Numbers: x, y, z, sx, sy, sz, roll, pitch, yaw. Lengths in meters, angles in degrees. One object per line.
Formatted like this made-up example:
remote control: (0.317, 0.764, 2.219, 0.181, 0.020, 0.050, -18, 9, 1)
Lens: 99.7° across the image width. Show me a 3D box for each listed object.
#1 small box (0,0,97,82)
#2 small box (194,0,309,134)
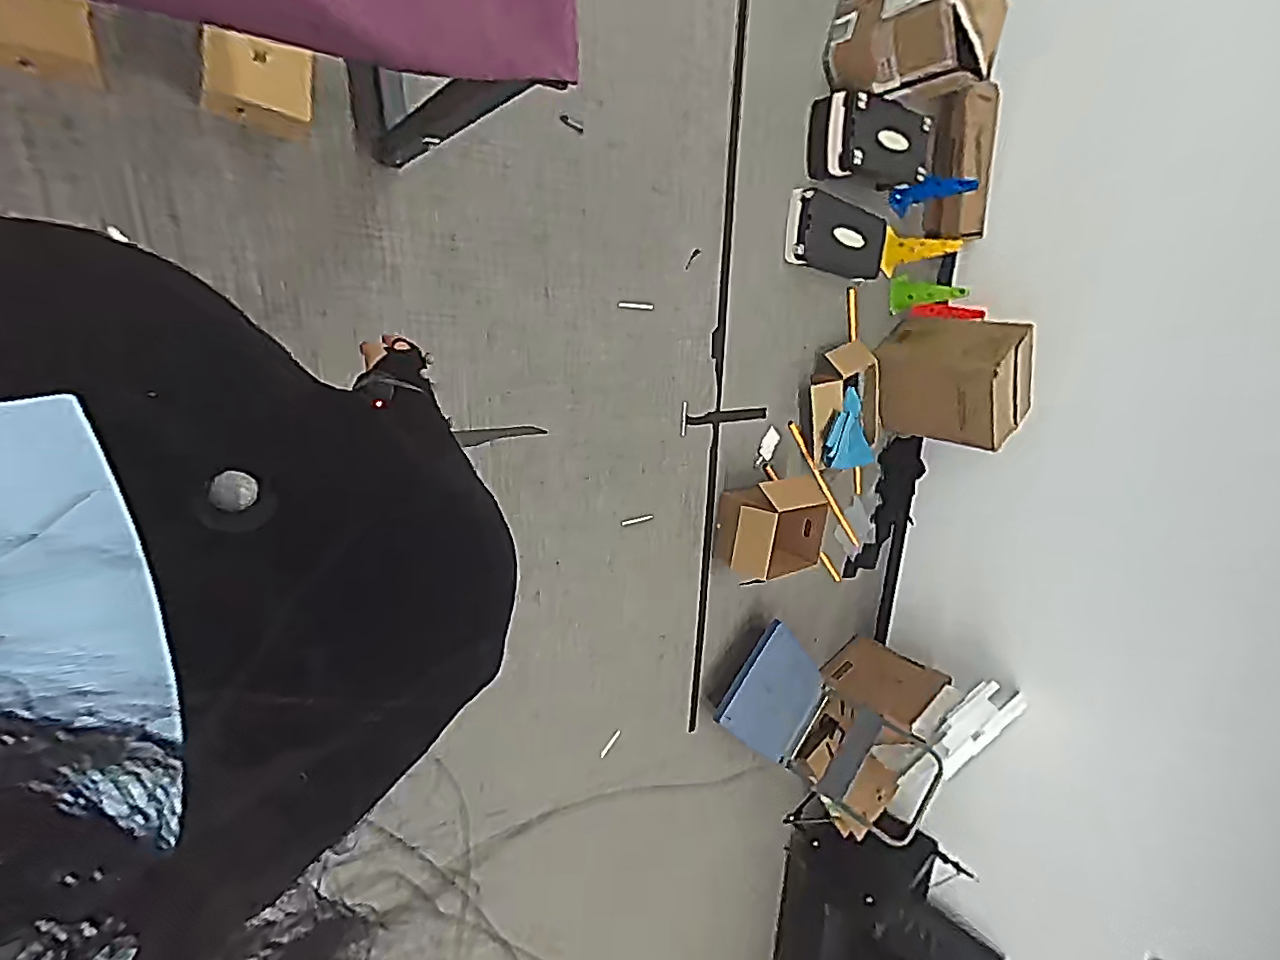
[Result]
small box: (-0.986, -0.767, 0.848, 0.168, 0.176, 0.179, -10, 110, -40)
small box: (-0.753, -0.806, 1.047, 0.168, 0.176, 0.179, -1, 104, -41)
